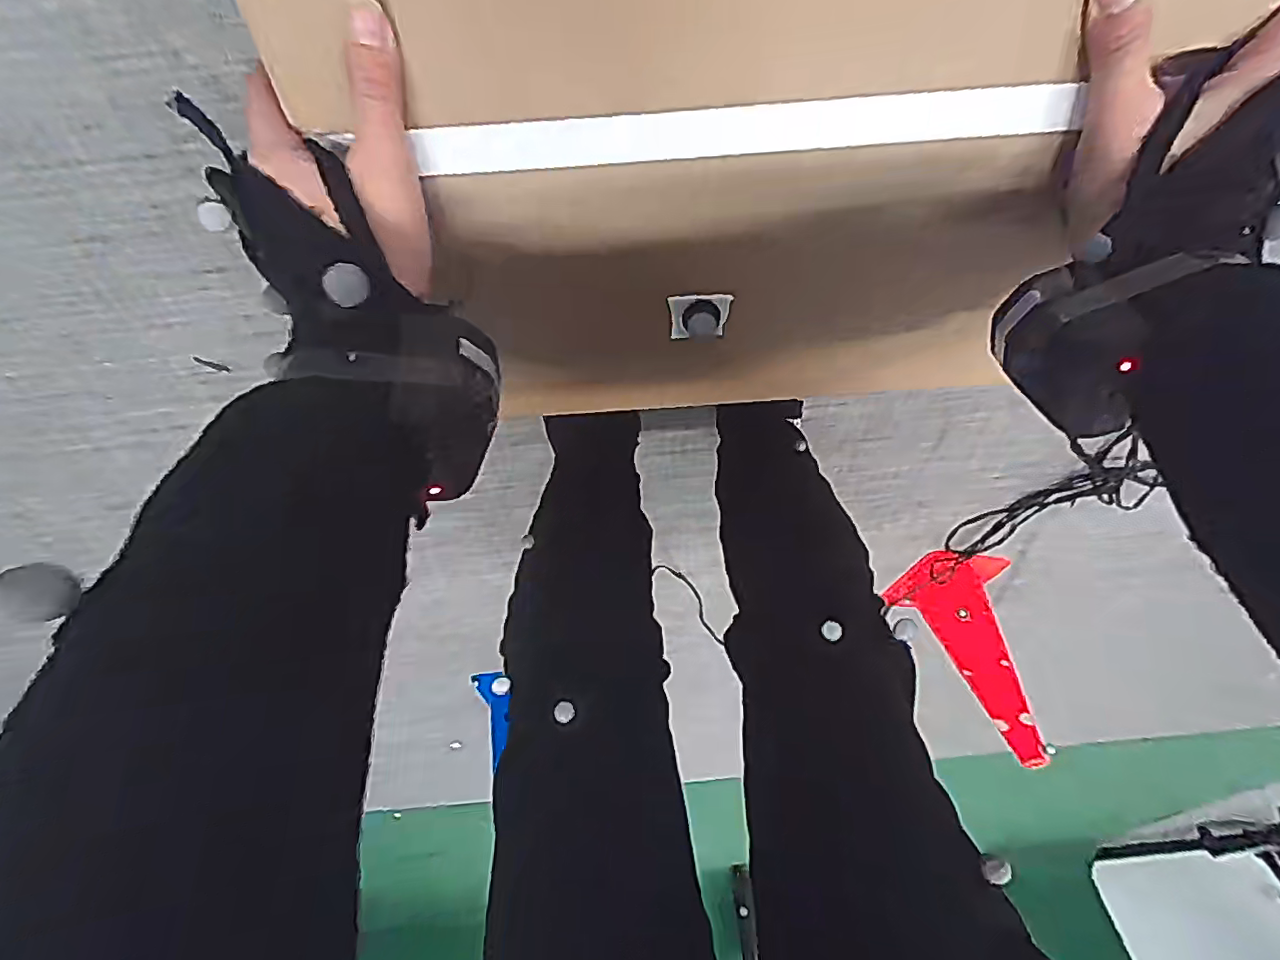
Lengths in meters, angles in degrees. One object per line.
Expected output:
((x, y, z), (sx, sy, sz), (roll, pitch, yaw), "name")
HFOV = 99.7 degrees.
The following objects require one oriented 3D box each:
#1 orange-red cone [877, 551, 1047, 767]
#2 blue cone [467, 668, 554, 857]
((0.634, 0.333, 1.002), (0.199, 0.360, 0.198), (7, 136, -15), "orange-red cone")
((-0.312, 0.647, 1.258), (0.192, 0.380, 0.193), (-5, 136, 0), "blue cone")
